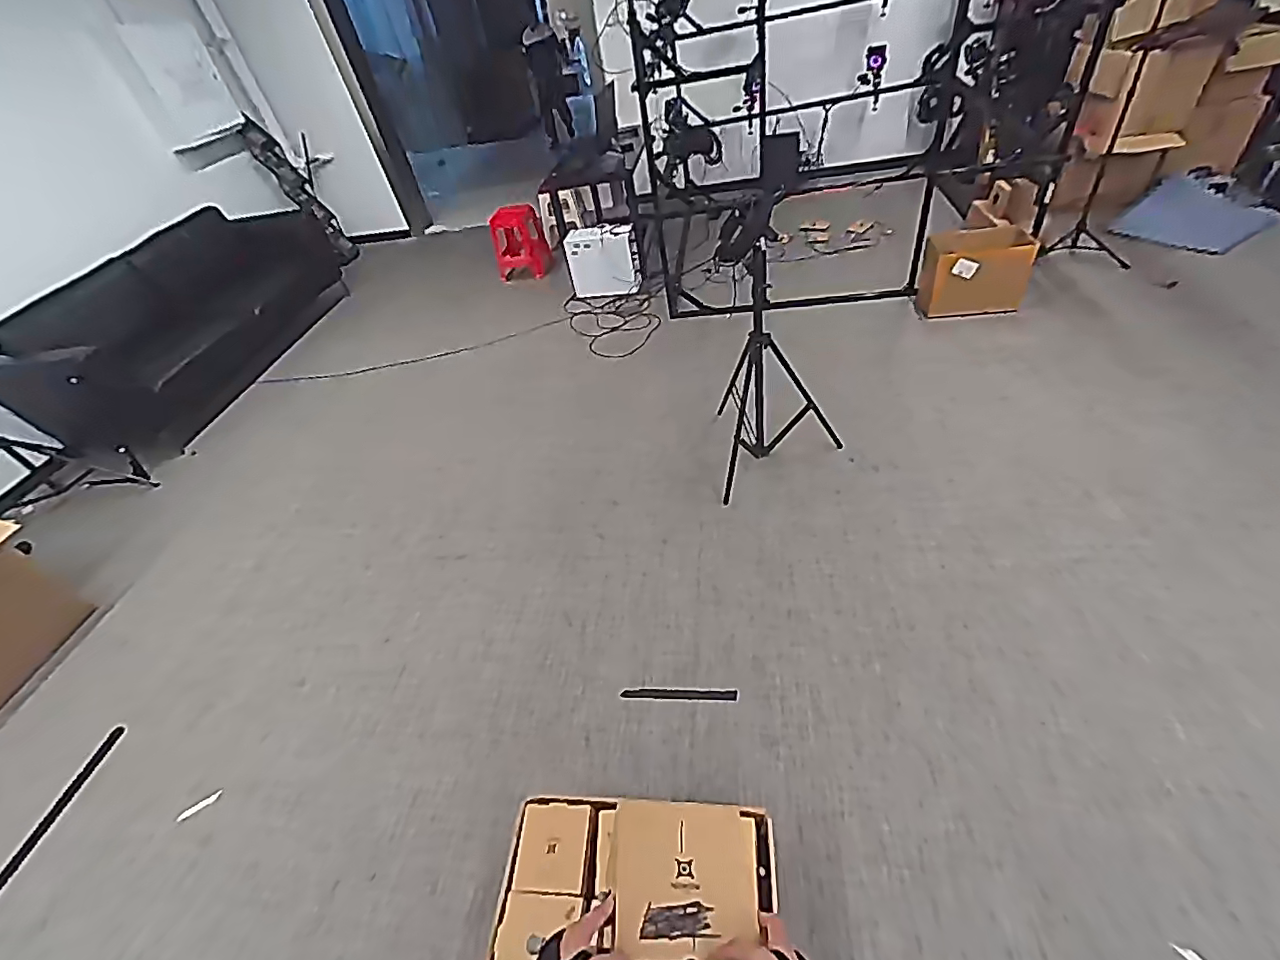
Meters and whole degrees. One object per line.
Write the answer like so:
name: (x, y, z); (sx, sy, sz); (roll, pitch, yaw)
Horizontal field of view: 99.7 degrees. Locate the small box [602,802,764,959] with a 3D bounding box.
small box: (0.043, 0.539, 0.670); (0.168, 0.176, 0.179); (6, 27, -4)
